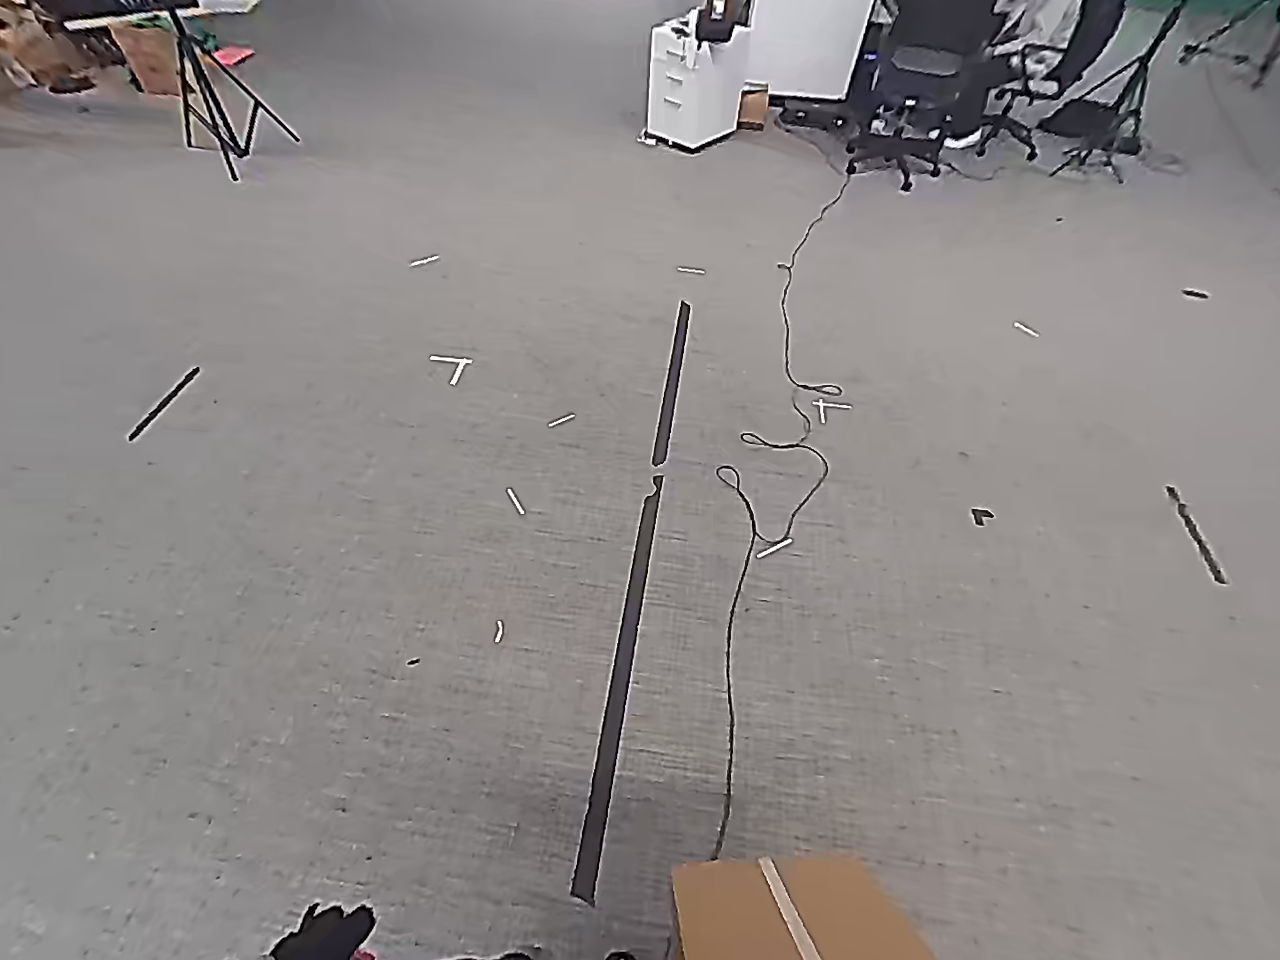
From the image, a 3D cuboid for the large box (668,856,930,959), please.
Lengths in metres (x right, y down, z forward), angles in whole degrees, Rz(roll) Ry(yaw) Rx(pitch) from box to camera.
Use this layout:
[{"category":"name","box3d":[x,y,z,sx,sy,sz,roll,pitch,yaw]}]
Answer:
[{"category":"large box","box3d":[0.215,0.756,0.679,0.320,0.408,0.320,-3,84,-3]}]
